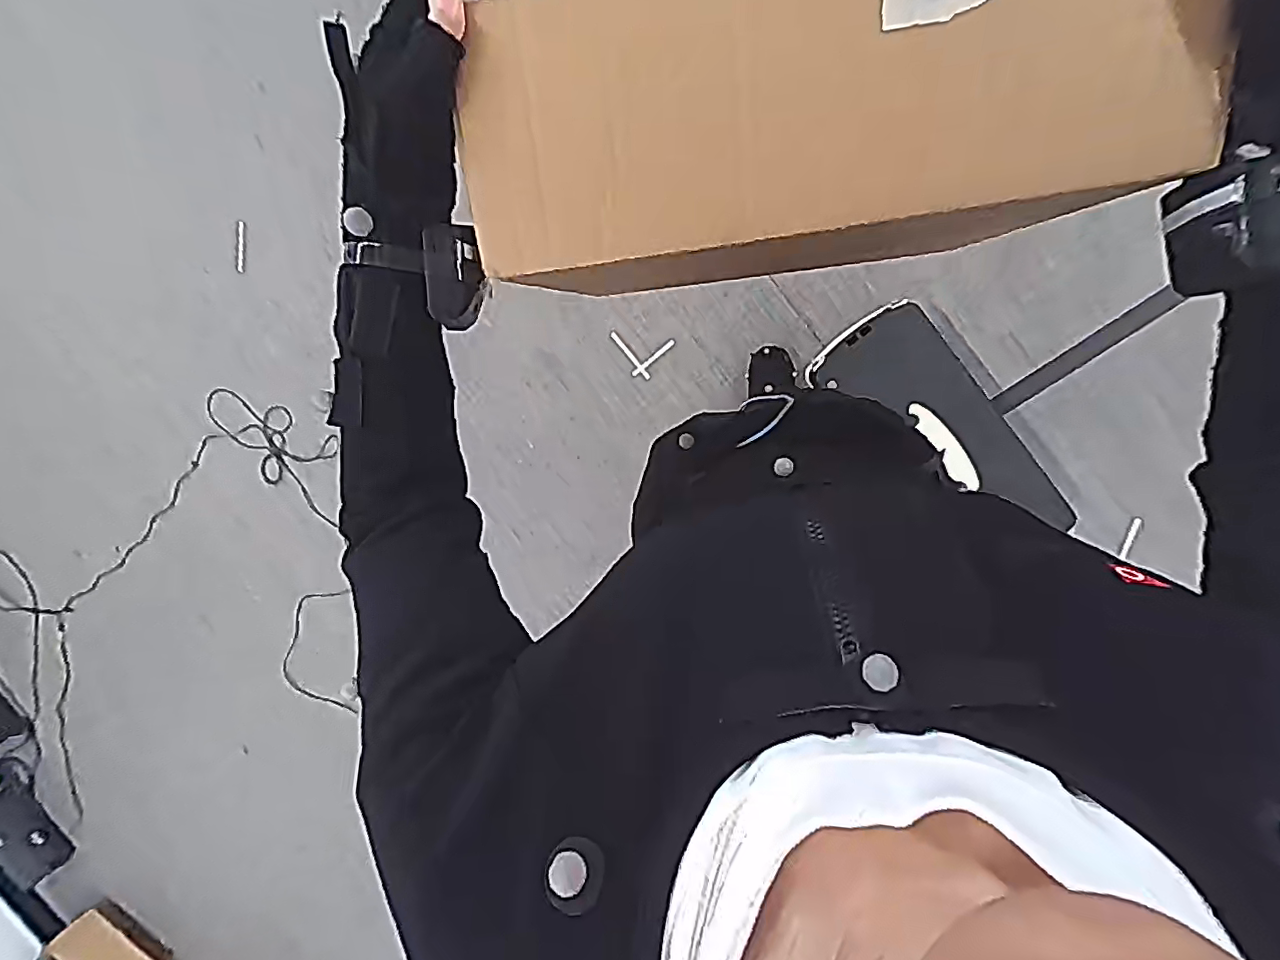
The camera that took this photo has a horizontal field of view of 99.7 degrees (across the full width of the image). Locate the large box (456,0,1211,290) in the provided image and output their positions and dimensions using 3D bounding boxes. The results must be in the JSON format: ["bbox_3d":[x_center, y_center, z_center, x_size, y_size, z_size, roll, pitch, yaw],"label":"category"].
[{"bbox_3d":[0.102,-0.348,0.426,0.408,0.320,0.320,-5,106,9],"label":"large box"}]
